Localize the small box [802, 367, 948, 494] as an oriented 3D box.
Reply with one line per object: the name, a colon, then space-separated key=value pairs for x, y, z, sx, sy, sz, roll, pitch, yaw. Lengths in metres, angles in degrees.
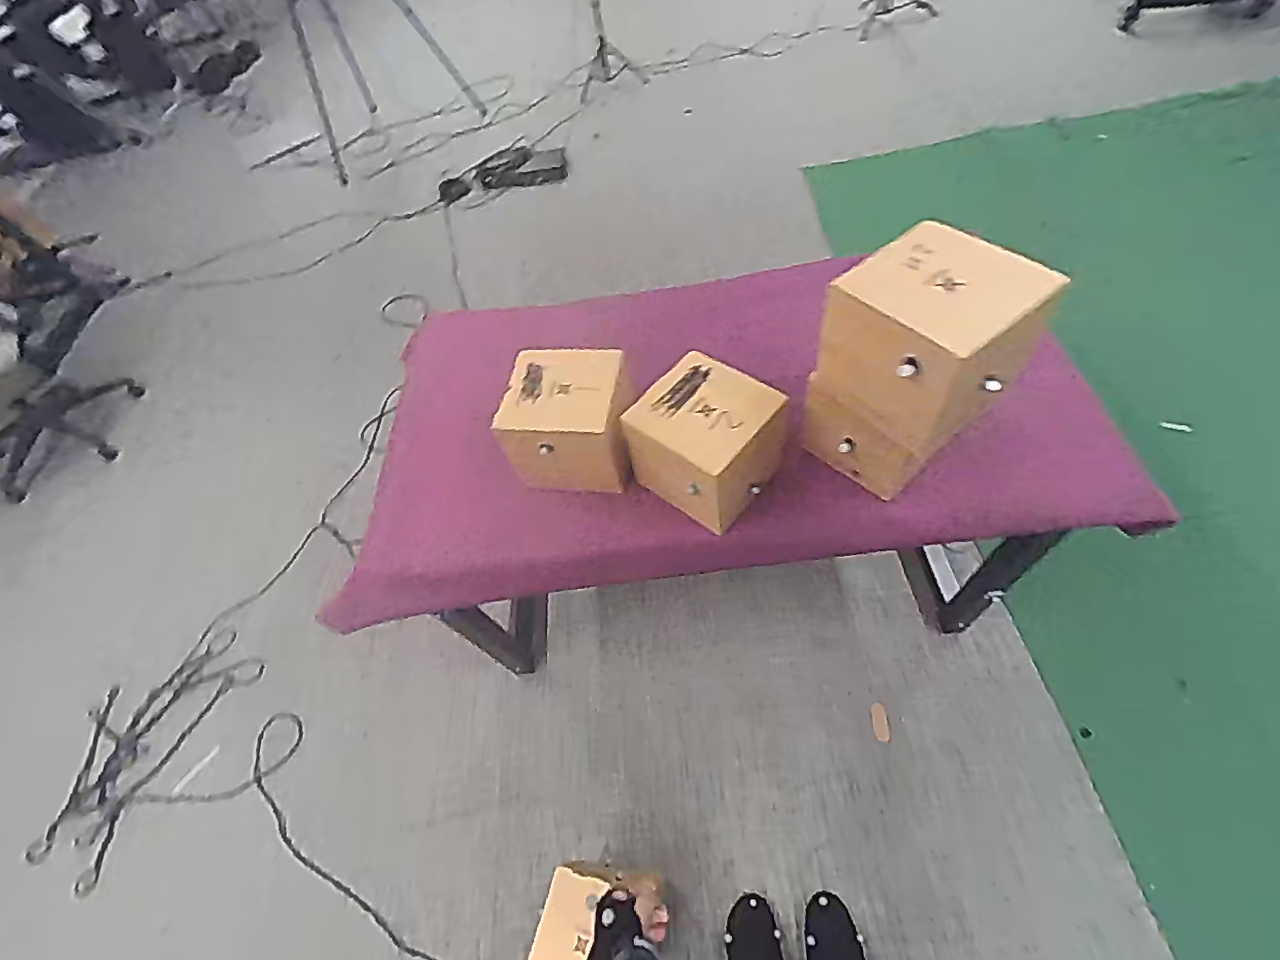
small box: x=0.363 y=-0.111 z=0.815 sx=0.179 sy=0.176 sz=0.168 roll=-41 pitch=59 yaw=-16

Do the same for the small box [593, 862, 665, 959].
small box: x=-0.048 y=0.903 z=1.106 sx=0.168 sy=0.176 sz=0.179 roll=4 pitch=59 yaw=14

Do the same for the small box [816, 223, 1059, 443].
small box: x=0.339 y=-0.169 z=0.657 sx=0.168 sy=0.176 sz=0.179 roll=-35 pitch=56 yaw=-13

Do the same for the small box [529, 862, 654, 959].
small box: x=-0.080 y=0.818 z=0.973 sx=0.168 sy=0.176 sz=0.179 roll=9 pitch=59 yaw=17
